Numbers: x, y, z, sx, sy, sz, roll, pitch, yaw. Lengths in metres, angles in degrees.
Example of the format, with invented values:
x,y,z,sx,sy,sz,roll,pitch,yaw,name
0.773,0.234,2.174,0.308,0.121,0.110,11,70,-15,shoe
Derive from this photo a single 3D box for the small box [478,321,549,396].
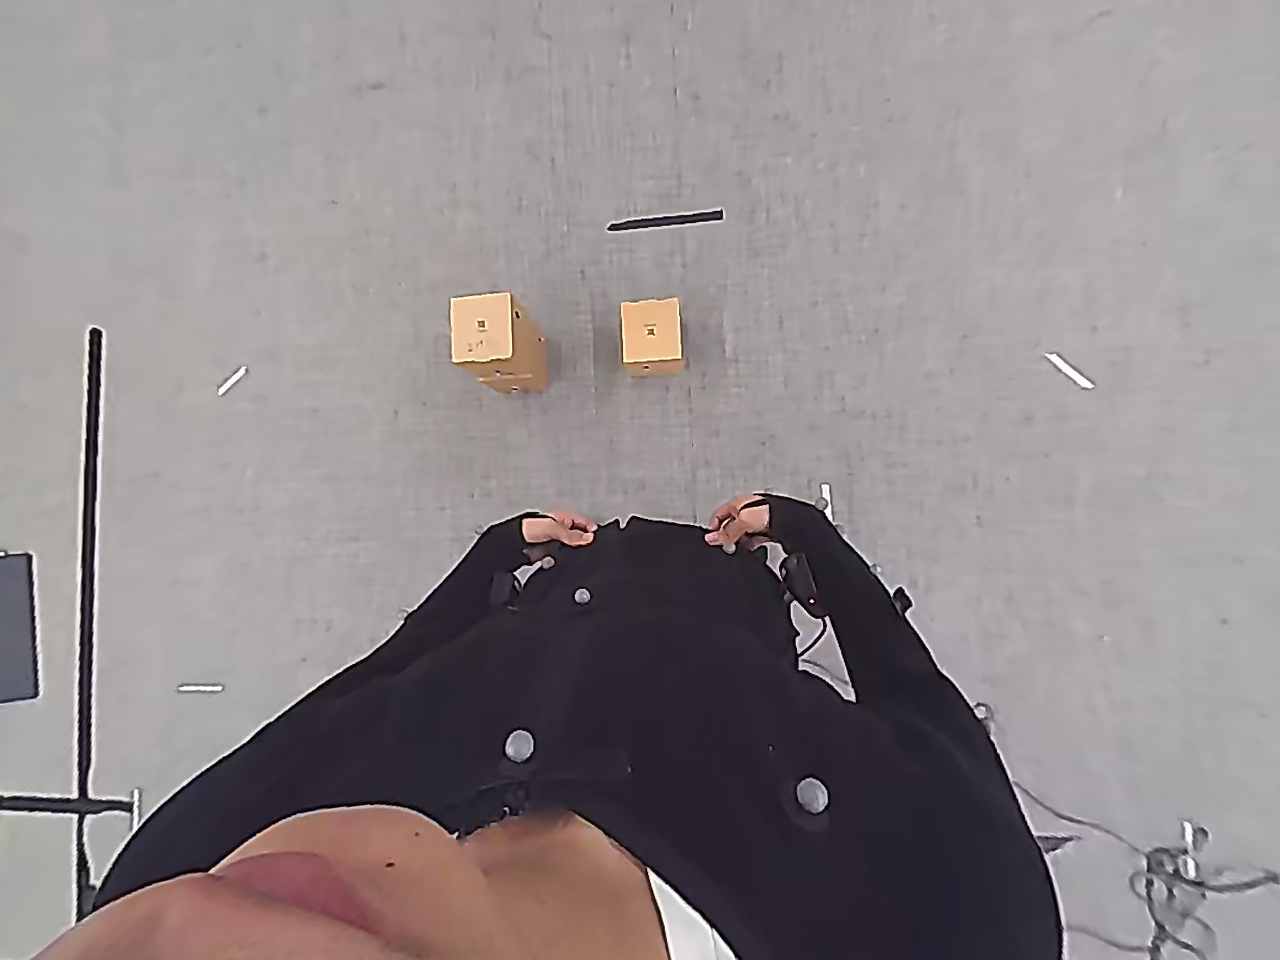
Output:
x,y,z,sx,sy,sz,roll,pitch,yaw,name
-0.376,-0.361,1.623,0.168,0.176,0.179,-3,86,7,small box

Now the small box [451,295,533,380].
x,y,z,sx,sy,sz,roll,pitch,yaw,name
-0.395,-0.378,1.461,0.168,0.176,0.179,-3,87,7,small box

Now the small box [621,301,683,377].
x,y,z,sx,sy,sz,roll,pitch,yaw,name
0.039,-0.404,1.583,0.168,0.176,0.179,-3,86,5,small box
